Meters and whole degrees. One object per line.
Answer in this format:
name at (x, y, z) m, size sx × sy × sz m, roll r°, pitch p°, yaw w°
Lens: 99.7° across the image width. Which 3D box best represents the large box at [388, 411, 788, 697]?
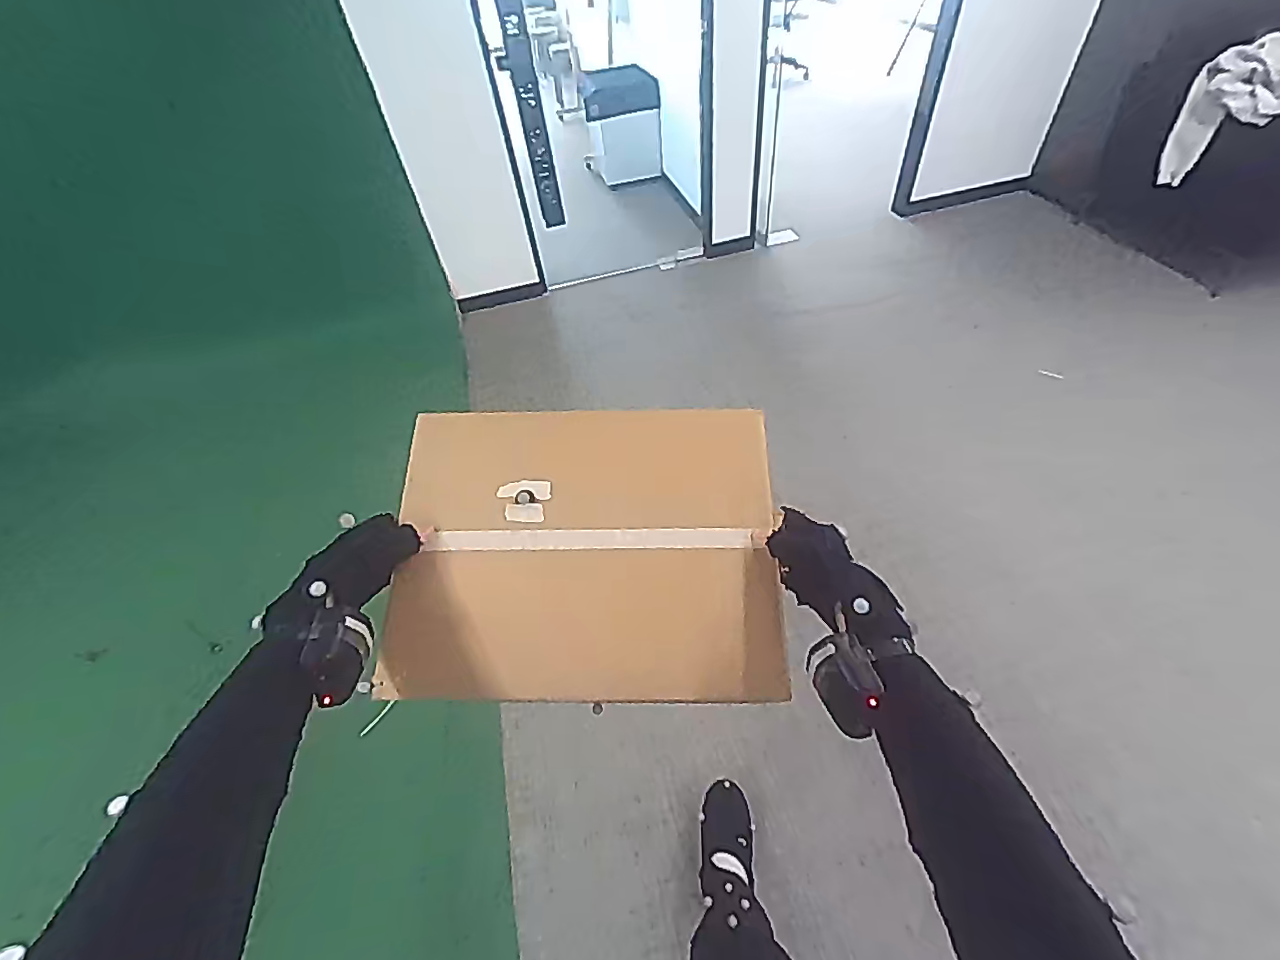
large box at (-0.048, 0.121, 0.722) m, size 0.408 × 0.320 × 0.320 m, roll -1°, pitch 67°, yaw 2°
